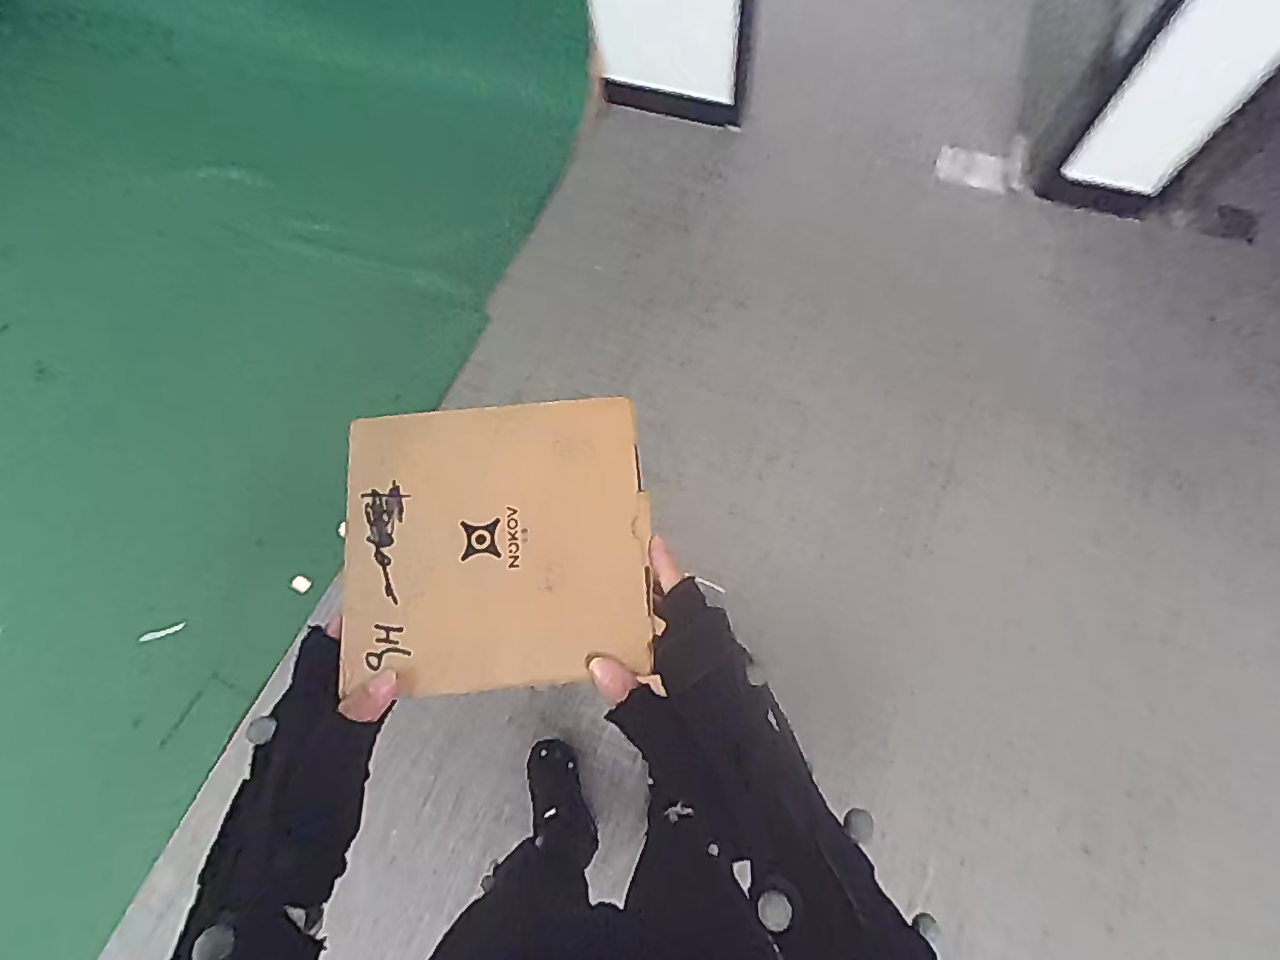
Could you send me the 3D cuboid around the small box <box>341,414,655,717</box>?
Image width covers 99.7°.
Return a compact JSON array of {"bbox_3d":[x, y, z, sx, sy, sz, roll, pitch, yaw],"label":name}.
[{"bbox_3d":[-0.089,0.062,0.396,0.179,0.176,0.168,-6,76,-3],"label":"small box"}]
